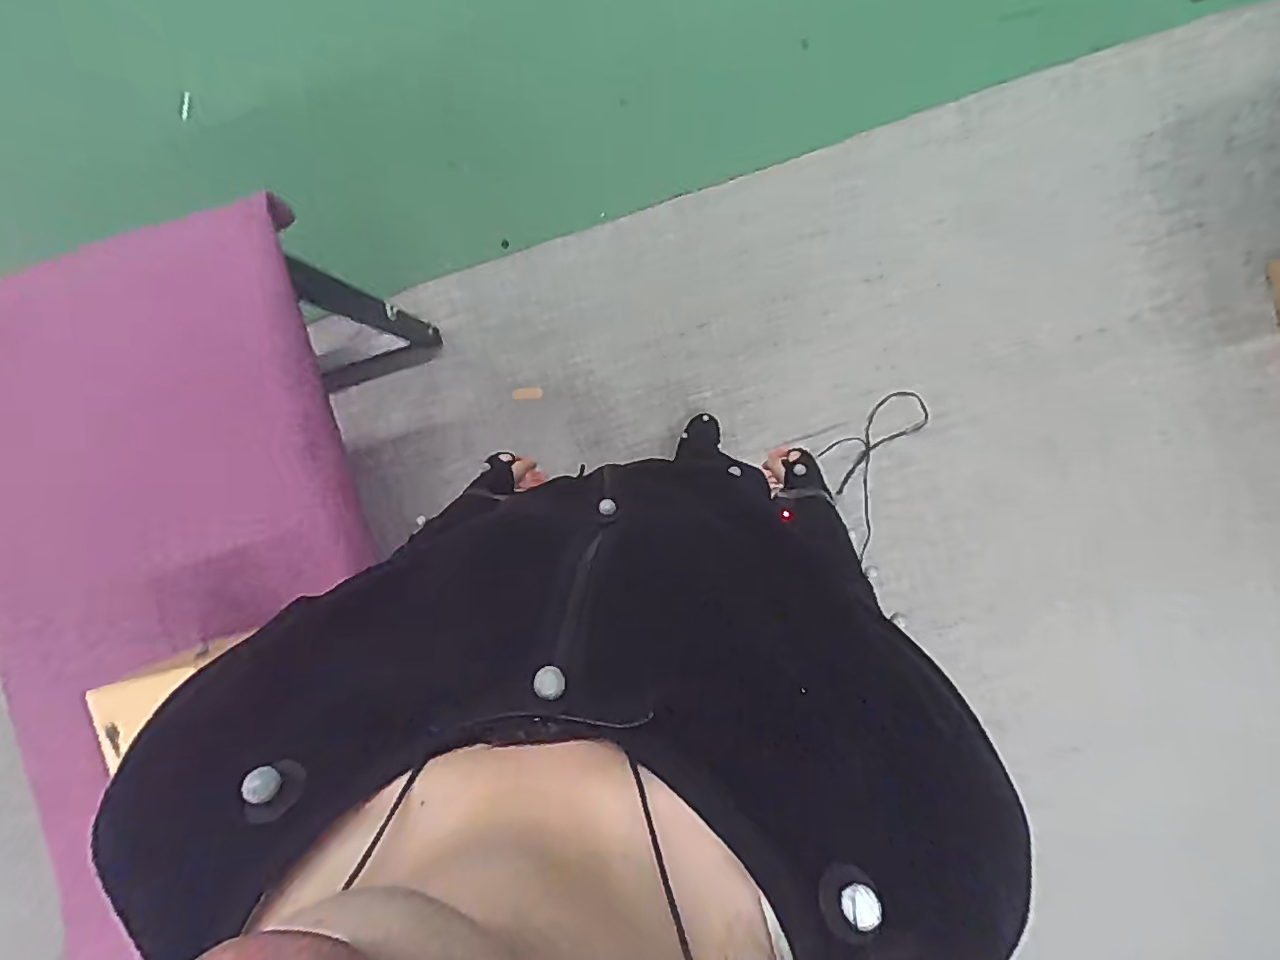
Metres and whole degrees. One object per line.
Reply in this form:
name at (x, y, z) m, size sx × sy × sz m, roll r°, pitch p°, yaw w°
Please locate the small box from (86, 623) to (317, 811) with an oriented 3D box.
small box at (-0.590, 0.317, 0.758) m, size 0.179 × 0.176 × 0.168 m, roll -15°, pitch 92°, yaw 4°
